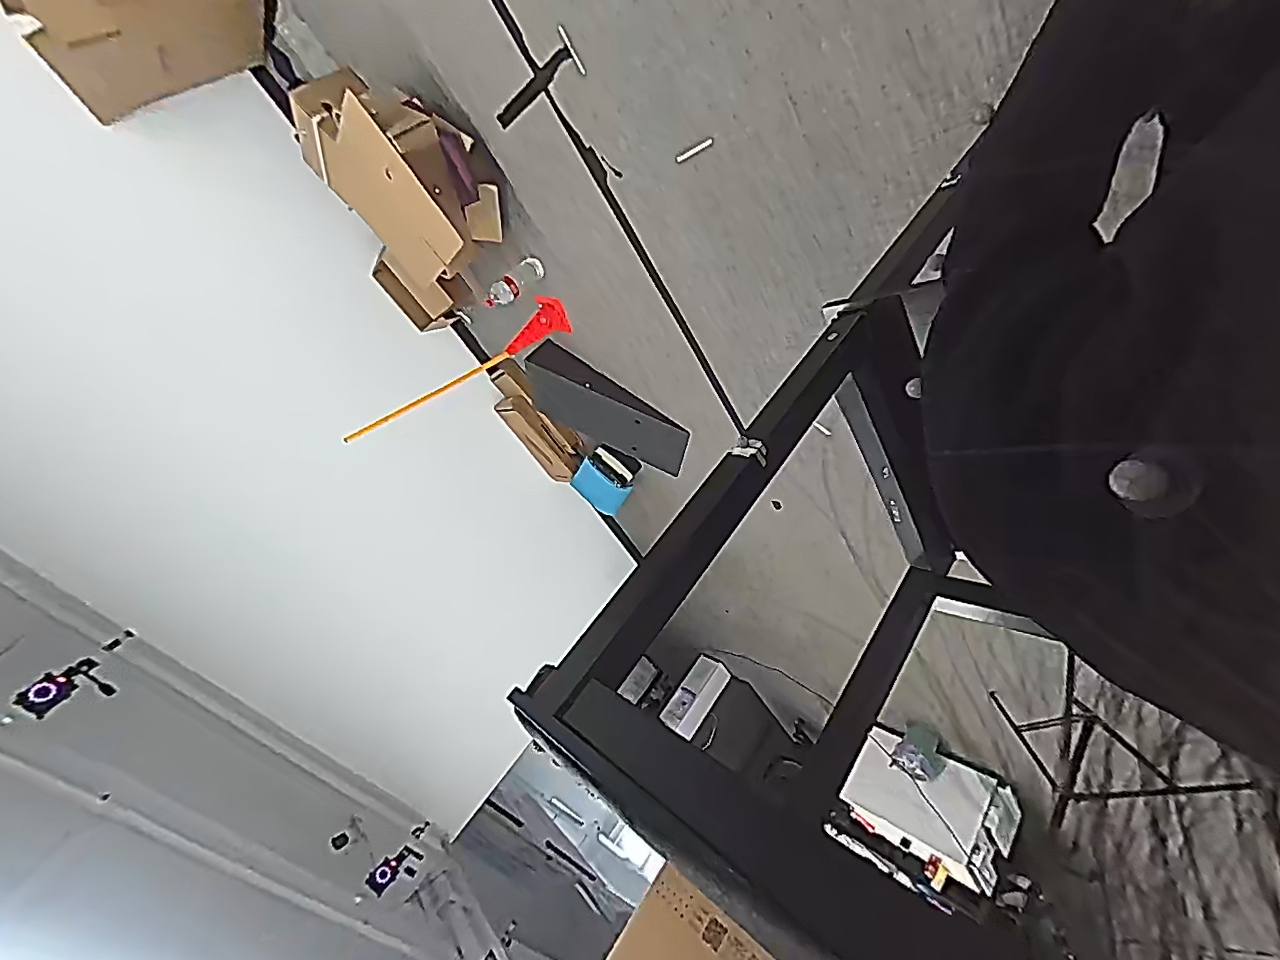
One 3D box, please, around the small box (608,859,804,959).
[{"bbox_3d":[0.069,0.407,0.361,0.168,0.176,0.179,7,140,50],"label":"small box"}]
